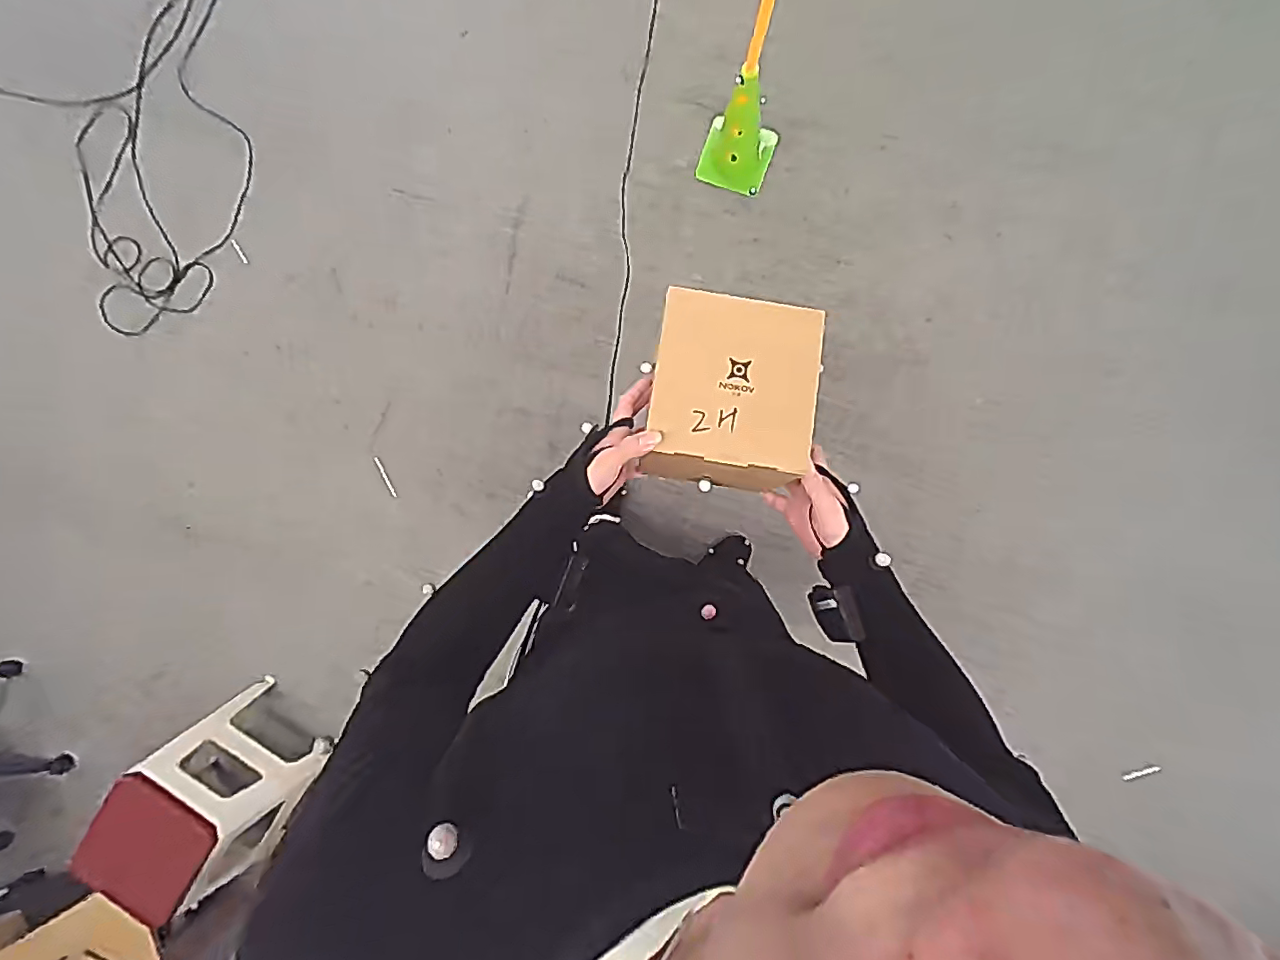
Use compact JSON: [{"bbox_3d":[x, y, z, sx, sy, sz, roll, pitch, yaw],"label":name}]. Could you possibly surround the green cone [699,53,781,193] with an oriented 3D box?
[{"bbox_3d":[0.275,-0.961,1.416,0.202,0.368,0.200,20,91,6],"label":"green cone"}]
